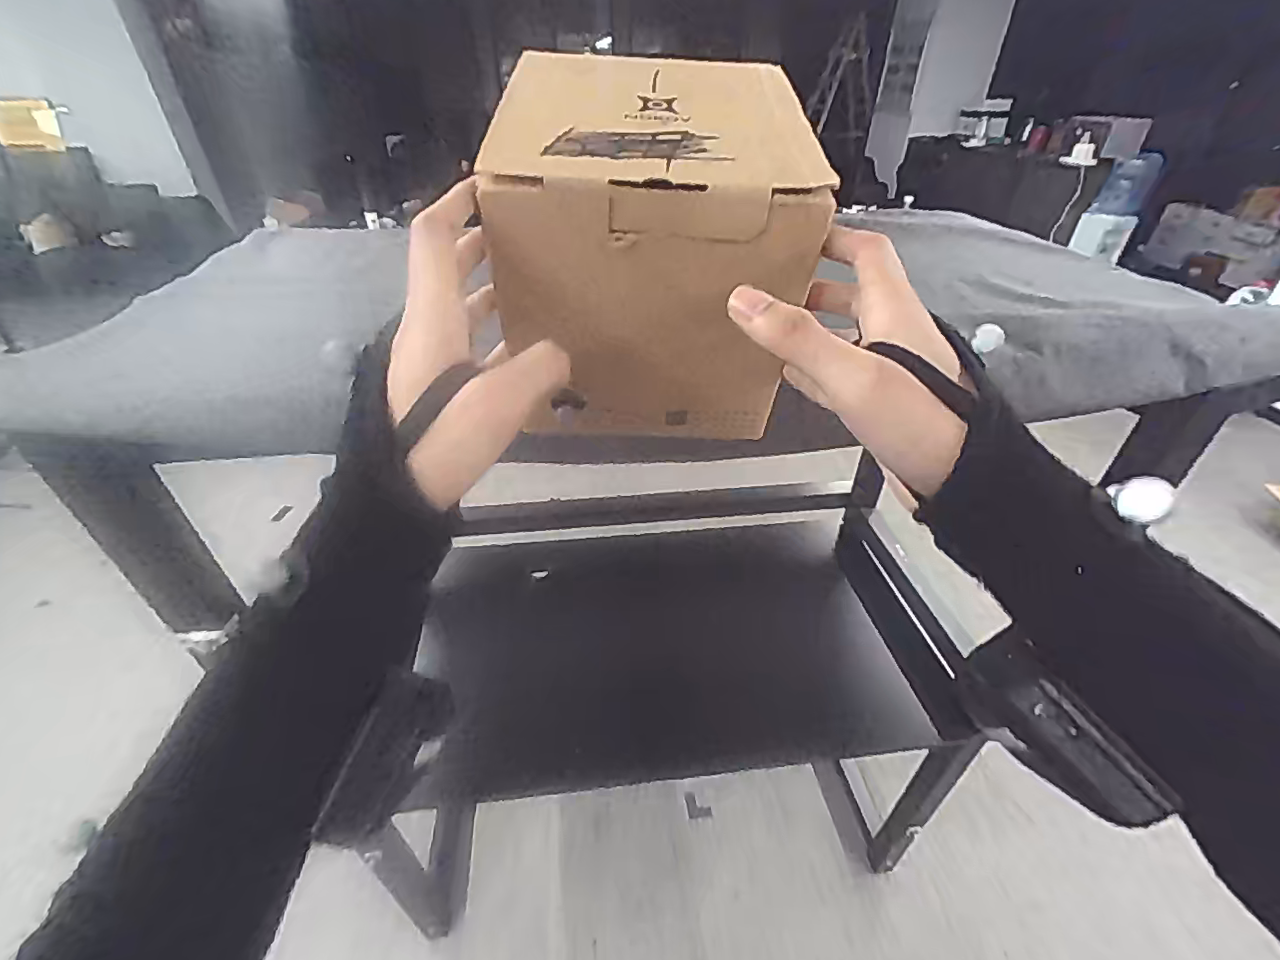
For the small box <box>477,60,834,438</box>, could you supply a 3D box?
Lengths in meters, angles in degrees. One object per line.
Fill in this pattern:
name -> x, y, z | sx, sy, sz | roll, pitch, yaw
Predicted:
small box -> 0.005, -0.143, 0.355 | 0.168, 0.176, 0.179 | 1, 53, -2
